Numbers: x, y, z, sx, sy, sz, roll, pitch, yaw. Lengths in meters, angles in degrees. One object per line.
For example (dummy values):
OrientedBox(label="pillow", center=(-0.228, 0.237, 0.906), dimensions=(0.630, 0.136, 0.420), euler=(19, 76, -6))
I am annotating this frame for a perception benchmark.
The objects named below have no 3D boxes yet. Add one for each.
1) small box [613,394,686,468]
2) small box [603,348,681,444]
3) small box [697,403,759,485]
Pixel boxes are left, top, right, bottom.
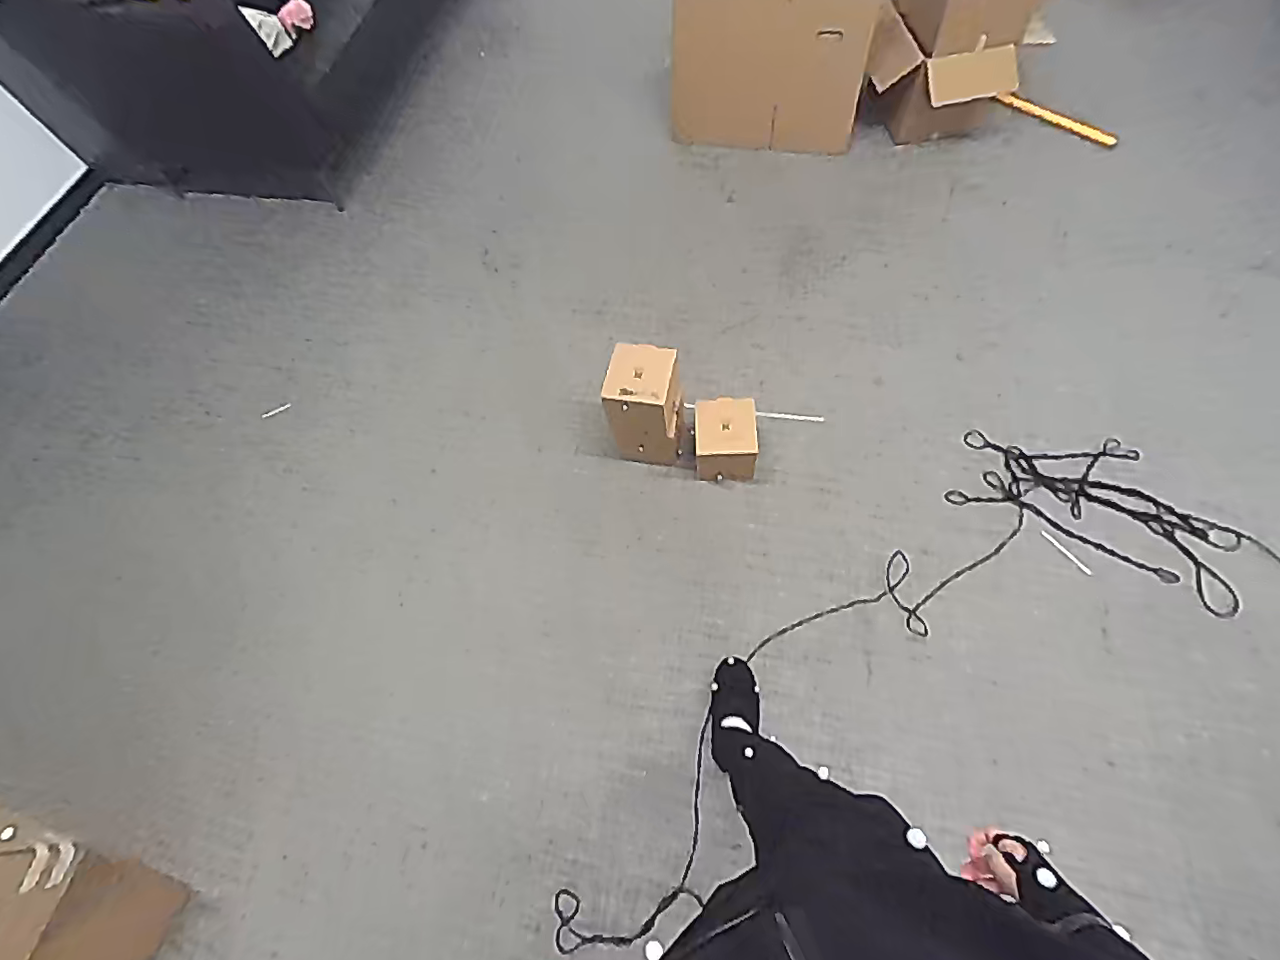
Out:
OrientedBox(label="small box", center=(0.035, -0.147, 1.579), dimensions=(0.179, 0.176, 0.168), euler=(8, 64, 11))
OrientedBox(label="small box", center=(0.012, -0.221, 1.434), dimensions=(0.168, 0.176, 0.179), euler=(9, 64, 11))
OrientedBox(label="small box", center=(0.245, -0.099, 1.531), dimensions=(0.168, 0.176, 0.179), euler=(-1, 64, 7))
